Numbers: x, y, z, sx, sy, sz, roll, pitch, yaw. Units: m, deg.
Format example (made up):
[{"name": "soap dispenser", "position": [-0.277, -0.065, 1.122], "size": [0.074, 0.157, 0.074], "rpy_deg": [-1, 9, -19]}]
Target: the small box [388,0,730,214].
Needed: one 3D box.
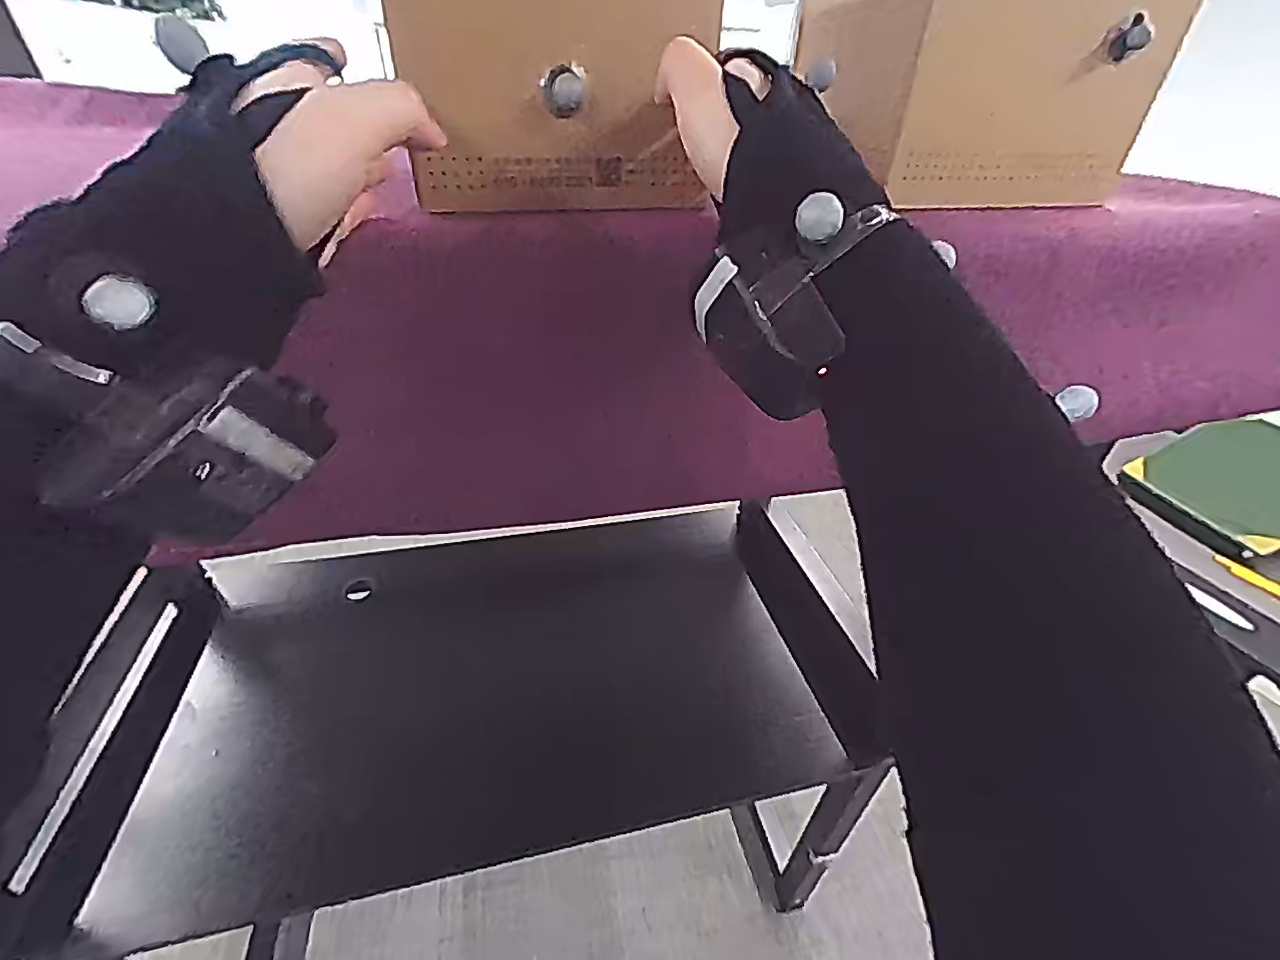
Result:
[{"name": "small box", "position": [-0.054, -0.267, 0.322], "size": [0.168, 0.176, 0.179], "rpy_deg": [-7, 37, -13]}]

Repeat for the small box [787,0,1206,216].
[{"name": "small box", "position": [0.223, -0.287, 0.369], "size": [0.179, 0.176, 0.168], "rpy_deg": [-6, 36, -10]}]
